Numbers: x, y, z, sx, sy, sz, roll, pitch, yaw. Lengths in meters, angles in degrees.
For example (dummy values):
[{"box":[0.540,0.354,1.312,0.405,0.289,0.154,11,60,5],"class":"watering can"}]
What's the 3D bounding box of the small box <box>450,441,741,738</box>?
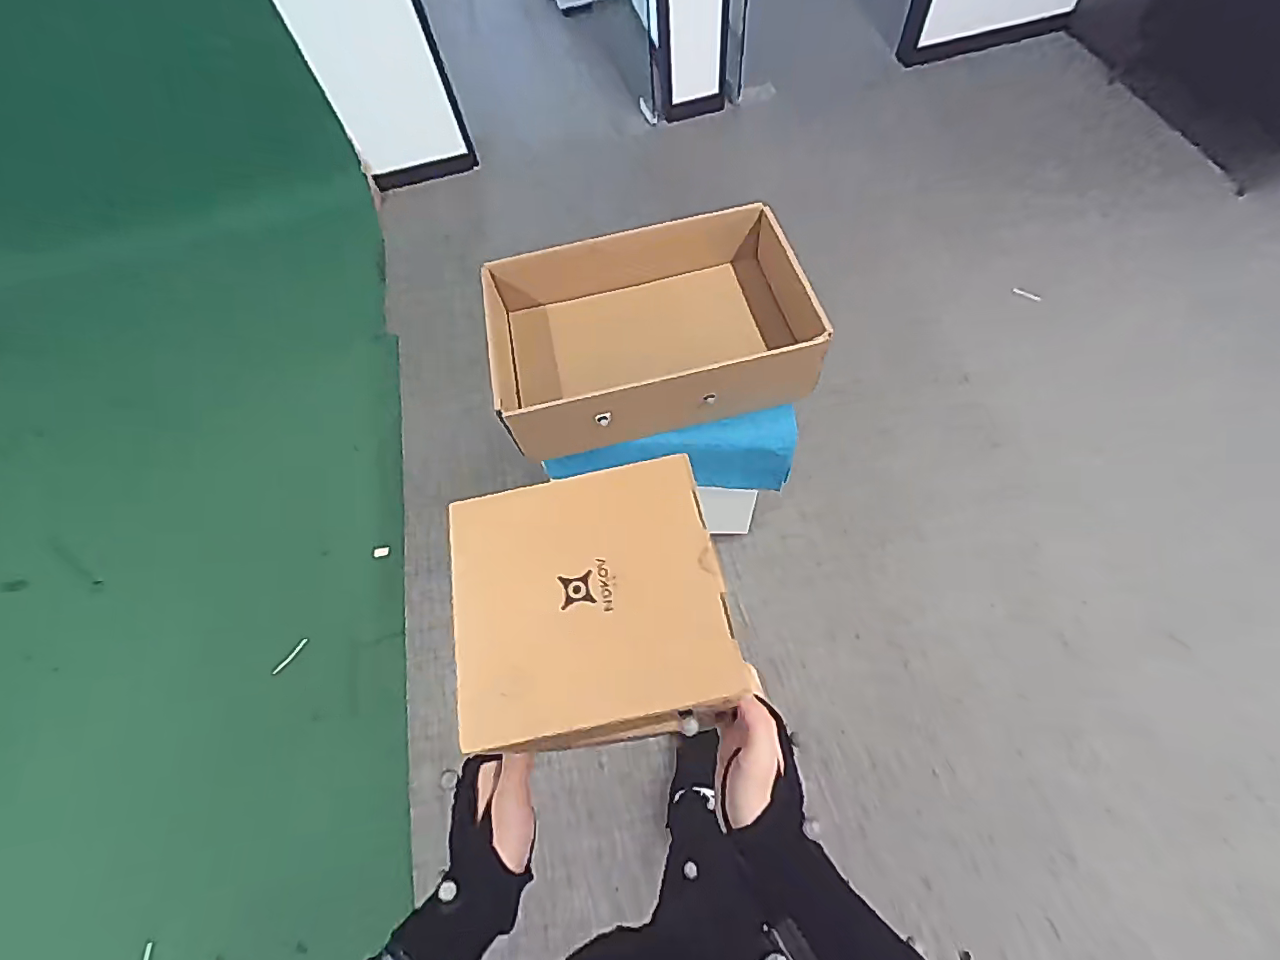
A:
[{"box":[-0.029,0.096,0.421,0.179,0.176,0.168,-13,63,0],"class":"small box"}]
